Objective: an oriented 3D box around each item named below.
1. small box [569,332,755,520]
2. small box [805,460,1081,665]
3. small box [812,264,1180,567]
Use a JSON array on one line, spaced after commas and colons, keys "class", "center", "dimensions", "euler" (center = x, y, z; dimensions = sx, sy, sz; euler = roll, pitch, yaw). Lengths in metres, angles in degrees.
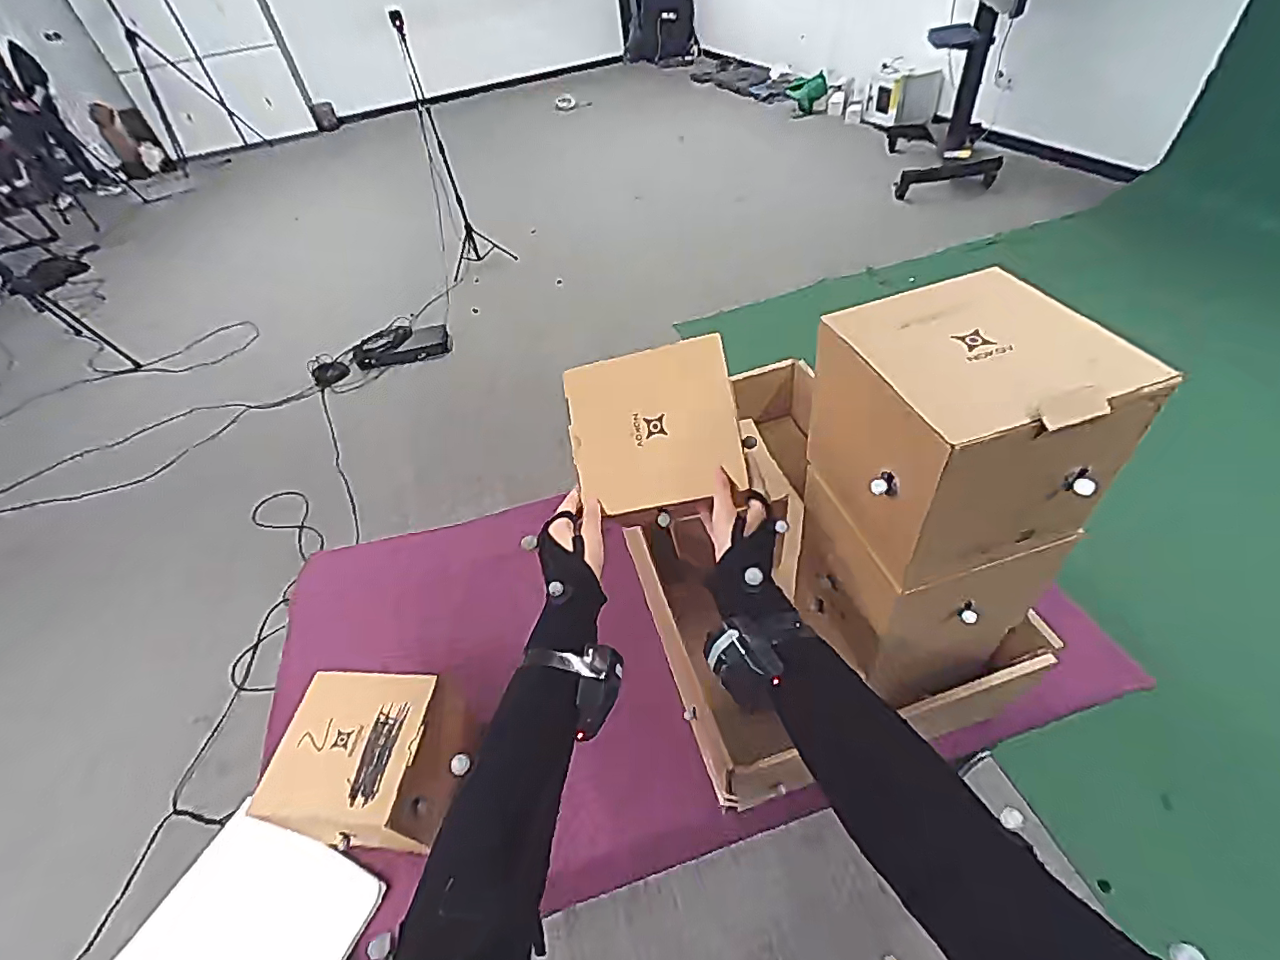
[{"class": "small box", "center": [0.036, -0.048, 0.633], "dimensions": [0.179, 0.176, 0.168], "euler": [-11, 80, 14]}, {"class": "small box", "center": [0.289, 0.066, 0.568], "dimensions": [0.179, 0.176, 0.168], "euler": [-17, 46, -3]}, {"class": "small box", "center": [0.260, -0.048, 0.454], "dimensions": [0.168, 0.176, 0.179], "euler": [-16, 46, -3]}]
